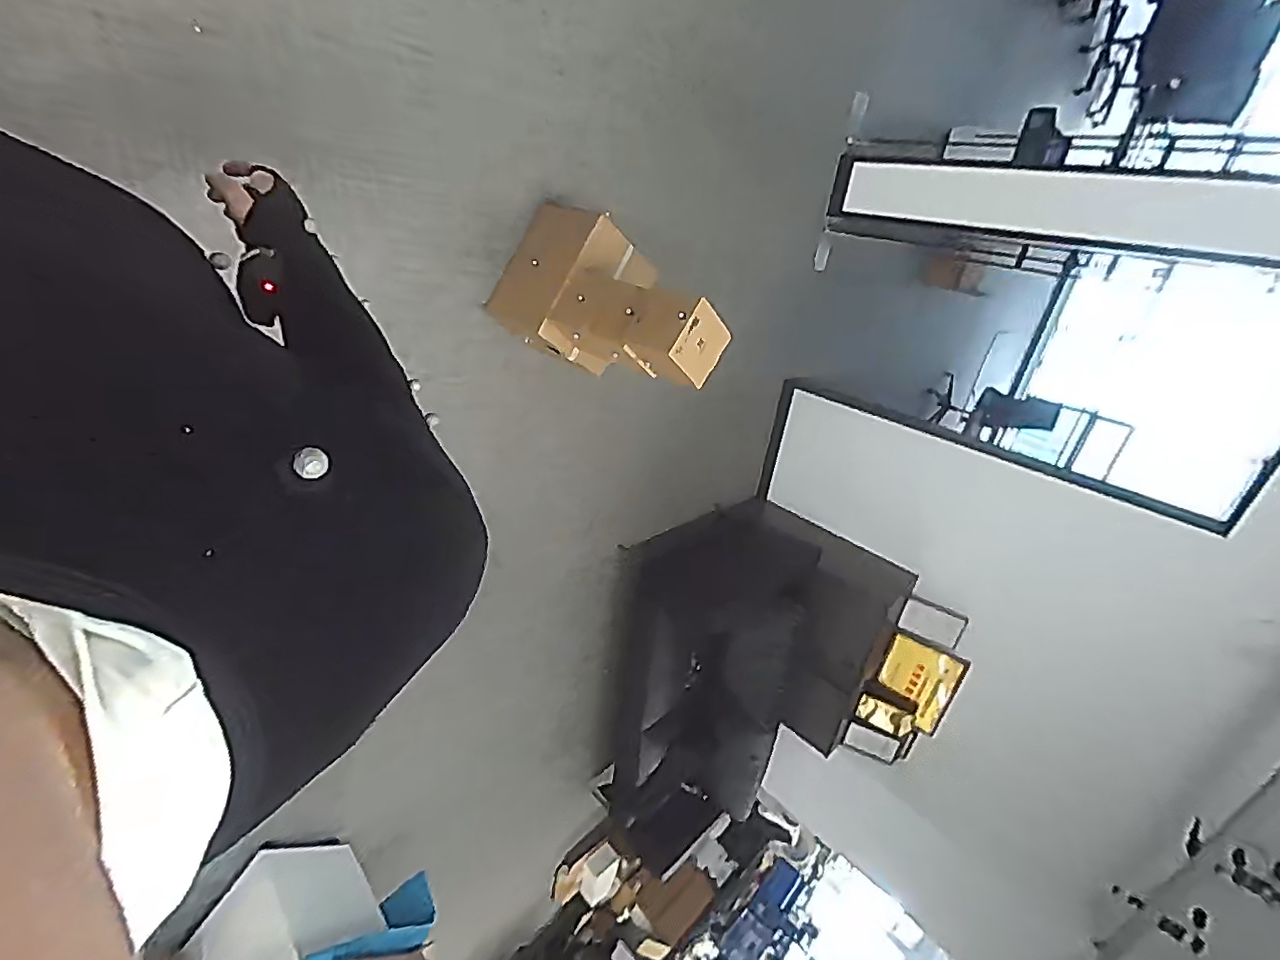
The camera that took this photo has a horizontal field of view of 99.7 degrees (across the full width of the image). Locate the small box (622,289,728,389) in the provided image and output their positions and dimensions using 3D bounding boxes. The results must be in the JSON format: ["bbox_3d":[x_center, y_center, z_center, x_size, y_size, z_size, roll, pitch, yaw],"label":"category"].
[{"bbox_3d":[0.089,-0.363,1.378,0.168,0.176,0.179,-60,143,-3],"label":"small box"}]

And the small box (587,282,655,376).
[{"bbox_3d":[-0.020,-0.417,1.489,0.168,0.176,0.179,32,88,-52],"label":"small box"}]

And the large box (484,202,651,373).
[{"bbox_3d":[-0.239,-0.627,1.776,0.320,0.320,0.408,25,93,-55],"label":"large box"}]
